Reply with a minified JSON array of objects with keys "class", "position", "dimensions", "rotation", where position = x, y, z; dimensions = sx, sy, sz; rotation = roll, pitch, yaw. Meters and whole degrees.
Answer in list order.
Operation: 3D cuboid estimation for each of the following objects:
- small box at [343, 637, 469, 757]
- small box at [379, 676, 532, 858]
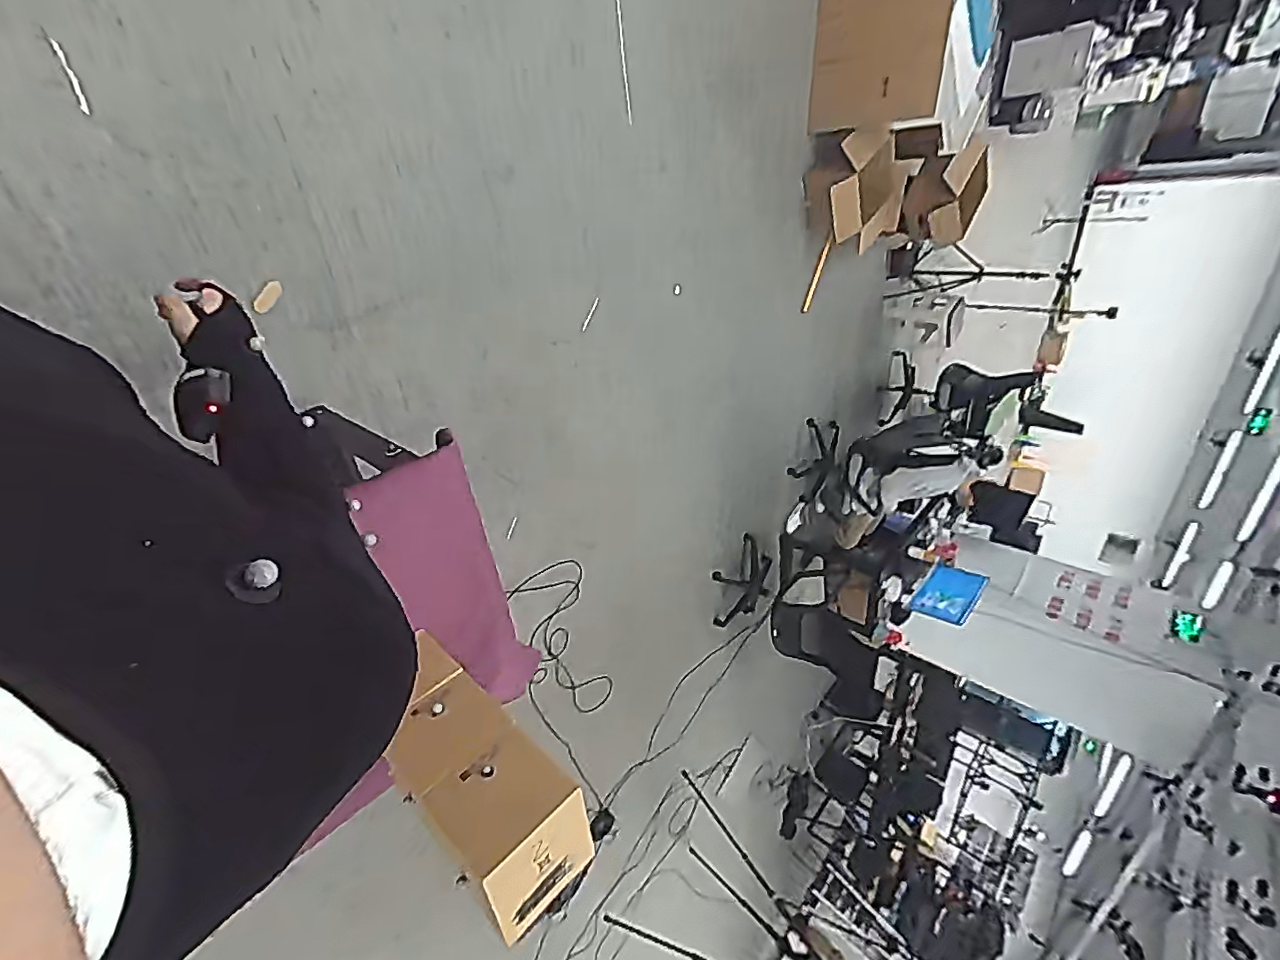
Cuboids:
[{"class":"small box","position":[-0.424,0.422,1.020],"dimensions":[0.168,0.176,0.179],"rotation":[-33,129,-36]},{"class":"small box","position":[-0.309,0.471,0.914],"dimensions":[0.168,0.176,0.179],"rotation":[-29,125,-39]}]
